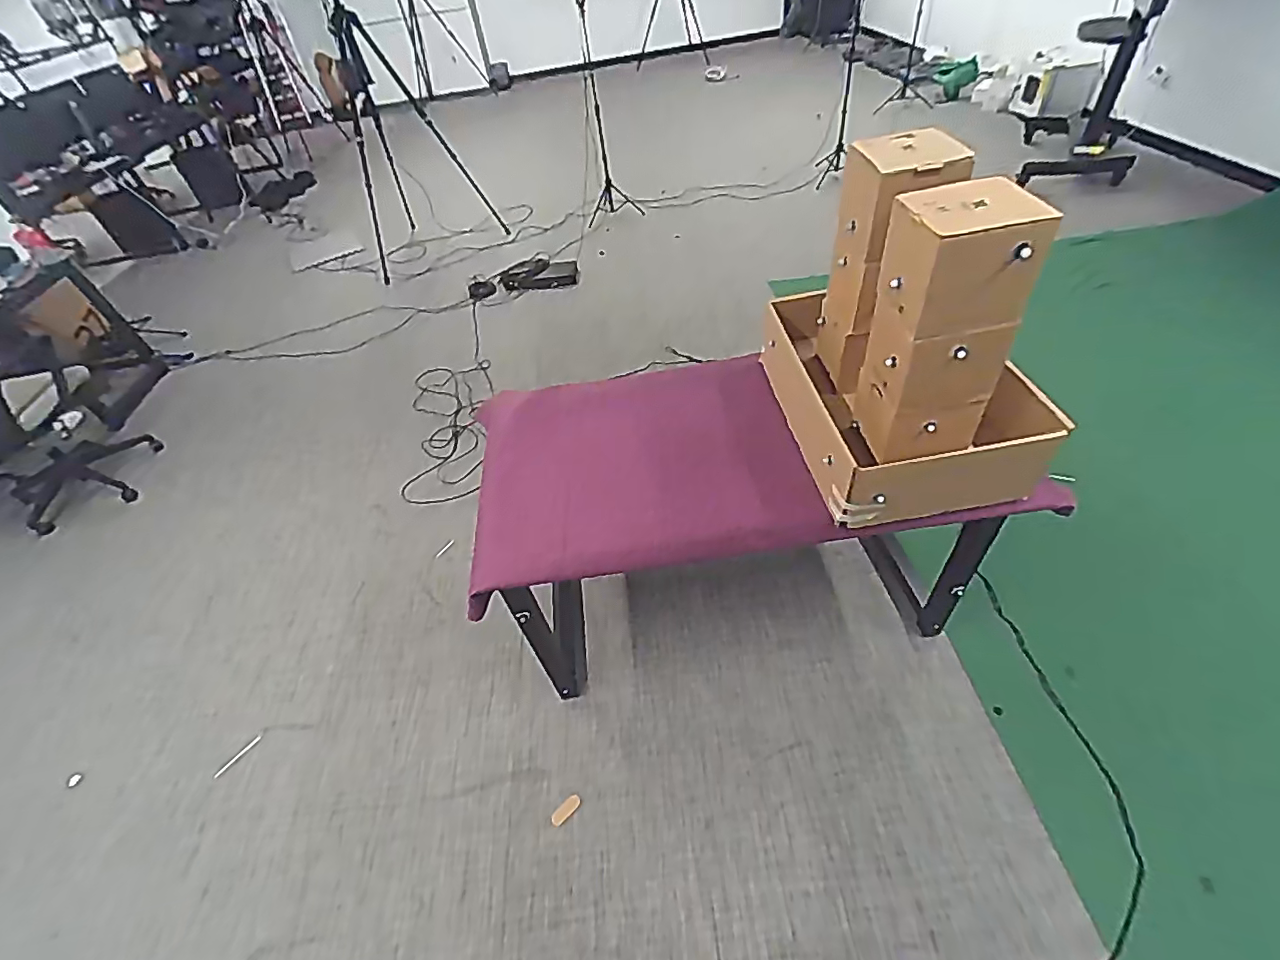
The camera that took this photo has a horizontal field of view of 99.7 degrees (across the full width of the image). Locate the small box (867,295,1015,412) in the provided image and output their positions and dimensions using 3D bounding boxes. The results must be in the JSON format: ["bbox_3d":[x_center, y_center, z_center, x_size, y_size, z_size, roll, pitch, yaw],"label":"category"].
[{"bbox_3d":[0.534,-0.242,0.995,0.179,0.176,0.168,-8,47,3],"label":"small box"}]

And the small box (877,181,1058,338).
[{"bbox_3d":[0.511,-0.355,0.877,0.179,0.176,0.168,-9,47,3],"label":"small box"}]

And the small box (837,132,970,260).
[{"bbox_3d":[0.501,-0.548,1.058,0.168,0.176,0.179,-8,49,2],"label":"small box"}]

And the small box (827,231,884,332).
[{"bbox_3d":[0.520,-0.437,1.178,0.168,0.176,0.179,-8,48,2],"label":"small box"}]
